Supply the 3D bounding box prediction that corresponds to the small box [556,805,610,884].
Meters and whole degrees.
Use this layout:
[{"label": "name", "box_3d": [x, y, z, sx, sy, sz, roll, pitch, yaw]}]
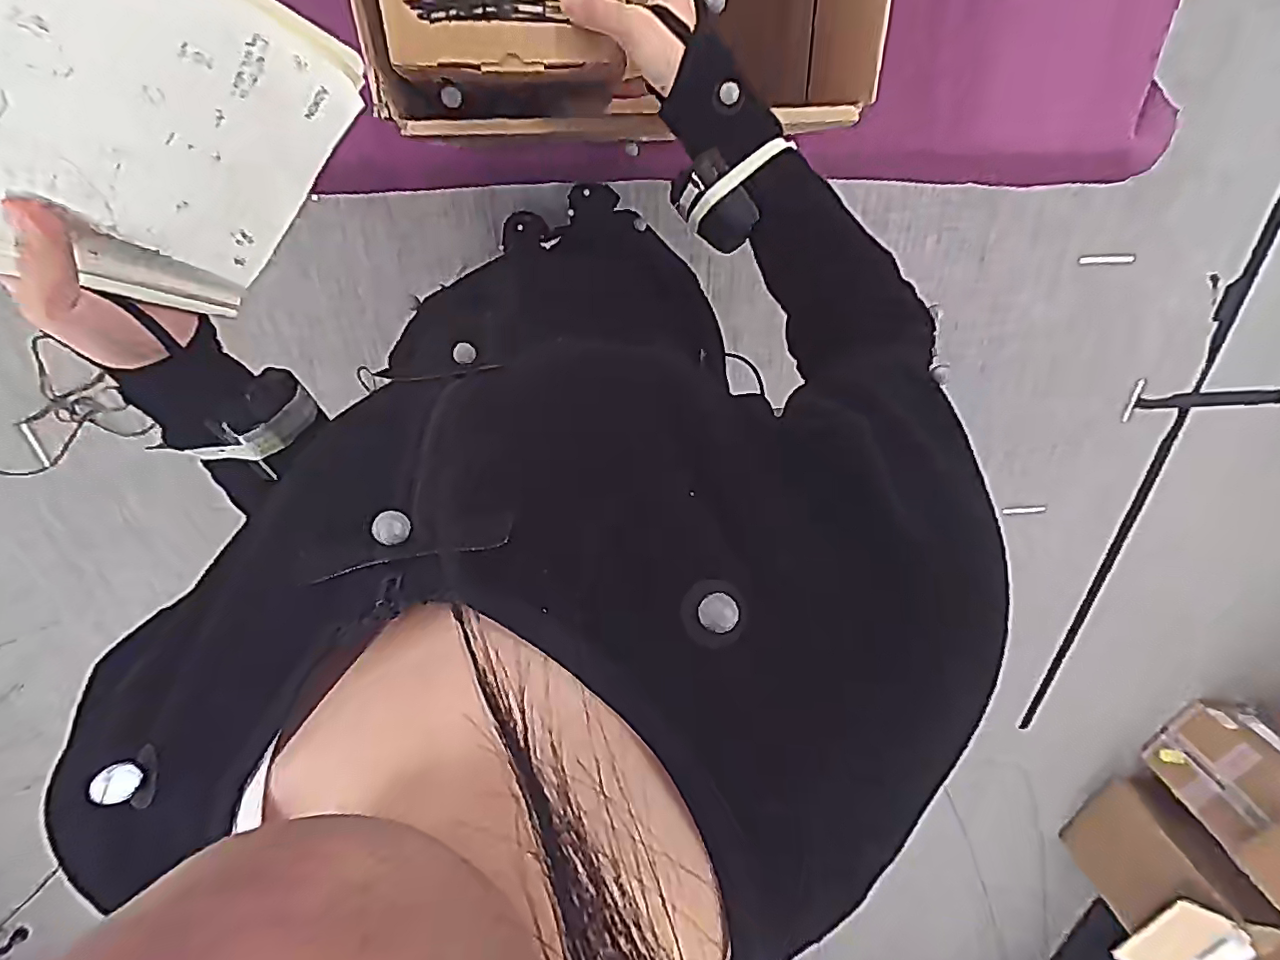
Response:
[{"label": "small box", "box_3d": [-0.198, 1.254, 1.874, 0.168, 0.176, 0.179, -6, 120, -2]}]
